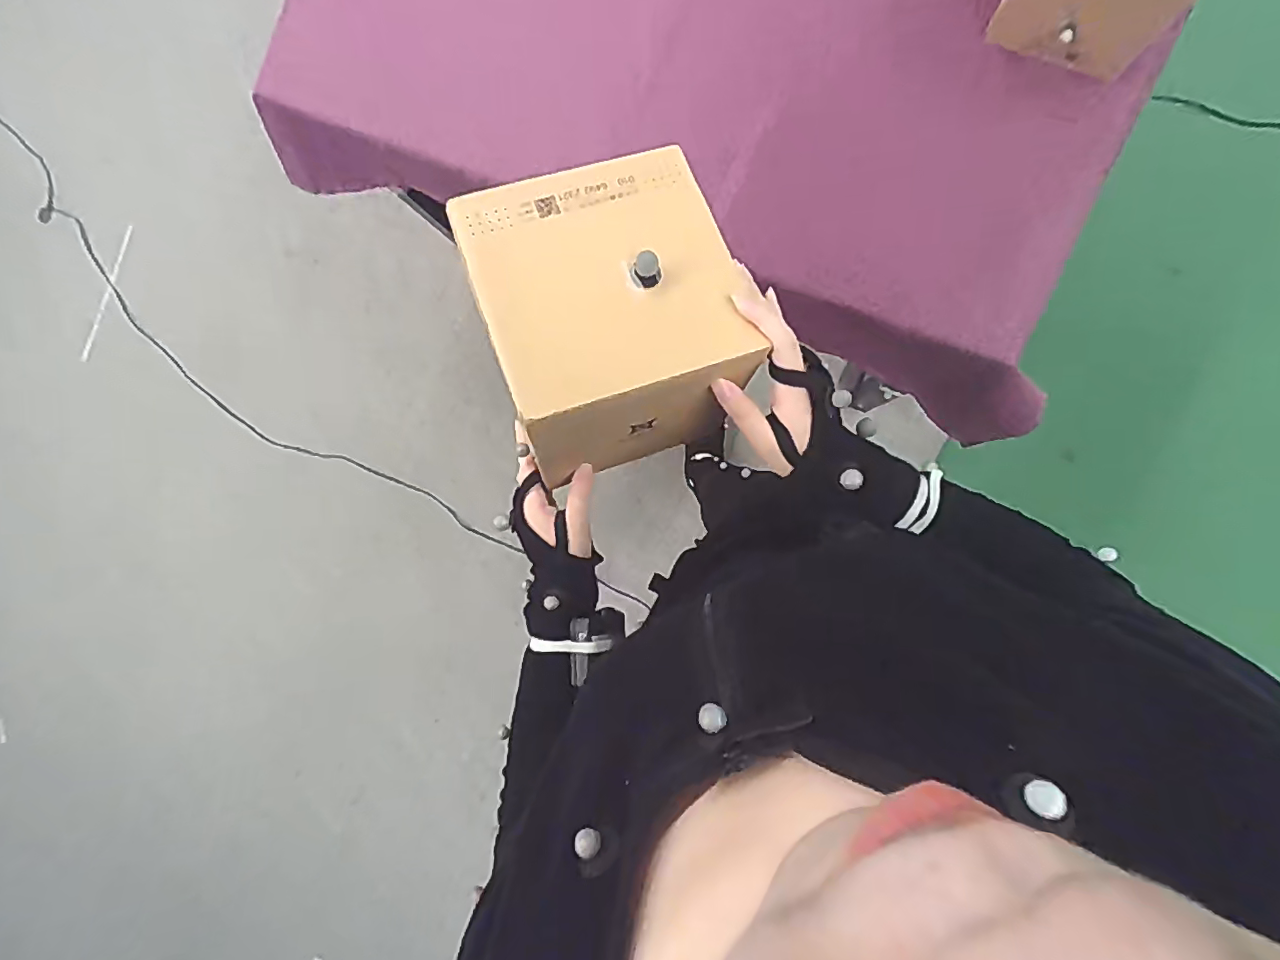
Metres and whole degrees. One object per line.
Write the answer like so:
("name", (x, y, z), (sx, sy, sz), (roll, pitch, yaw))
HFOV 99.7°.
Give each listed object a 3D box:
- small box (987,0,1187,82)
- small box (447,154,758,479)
("small box", (0.529, -0.602, 0.598), (0.168, 0.176, 0.179), (26, 98, 8))
("small box", (-0.035, -0.122, 0.426), (0.168, 0.179, 0.176), (-19, 79, -10))
